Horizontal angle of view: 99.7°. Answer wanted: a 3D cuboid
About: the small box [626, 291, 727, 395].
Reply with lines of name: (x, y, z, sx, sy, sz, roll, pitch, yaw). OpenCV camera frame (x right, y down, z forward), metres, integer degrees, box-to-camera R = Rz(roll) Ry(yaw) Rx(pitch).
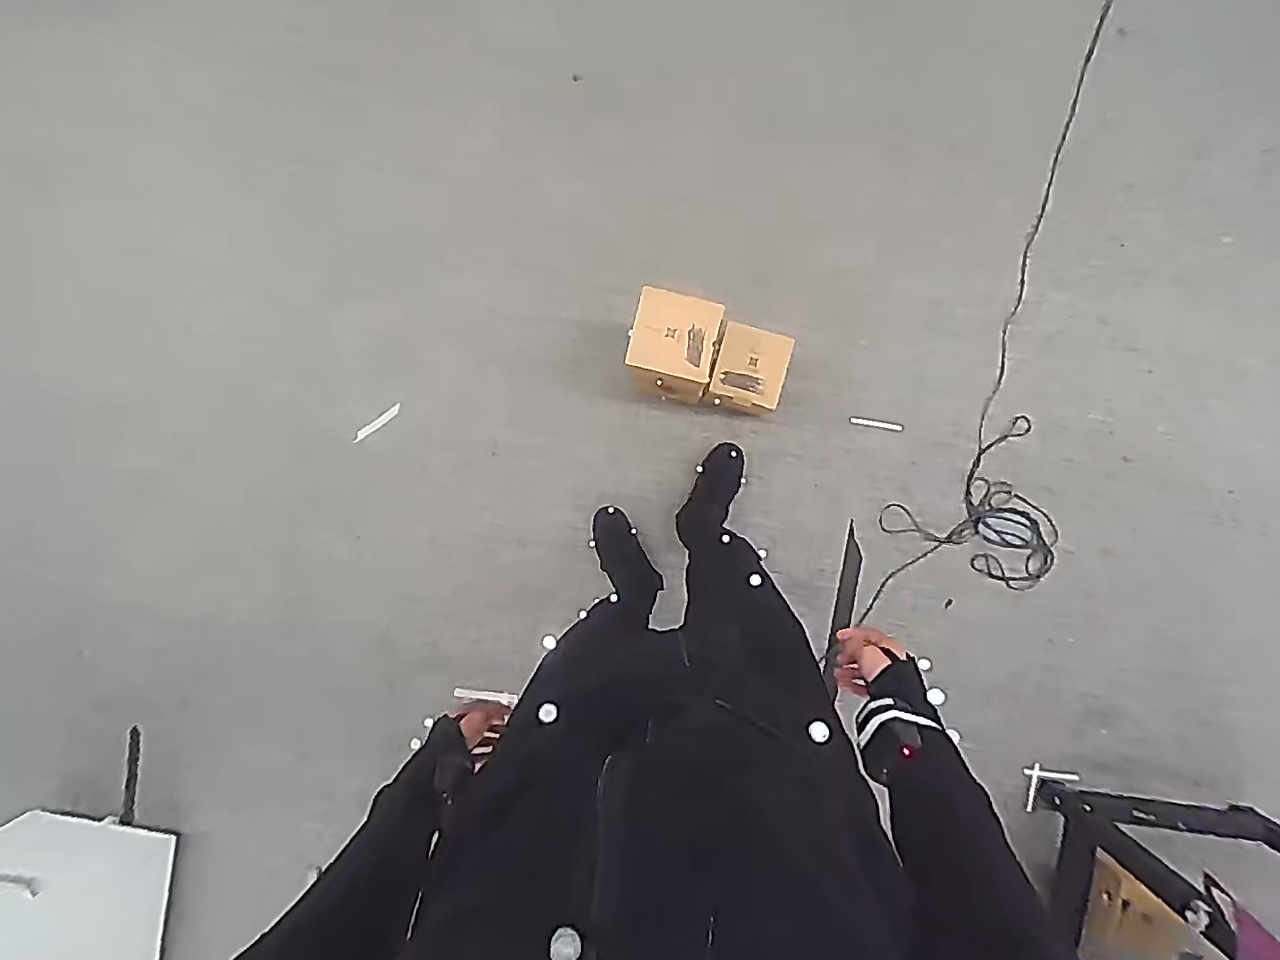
small box: (0.076, -0.289, 1.181, 0.179, 0.176, 0.168, 14, 92, 1)
